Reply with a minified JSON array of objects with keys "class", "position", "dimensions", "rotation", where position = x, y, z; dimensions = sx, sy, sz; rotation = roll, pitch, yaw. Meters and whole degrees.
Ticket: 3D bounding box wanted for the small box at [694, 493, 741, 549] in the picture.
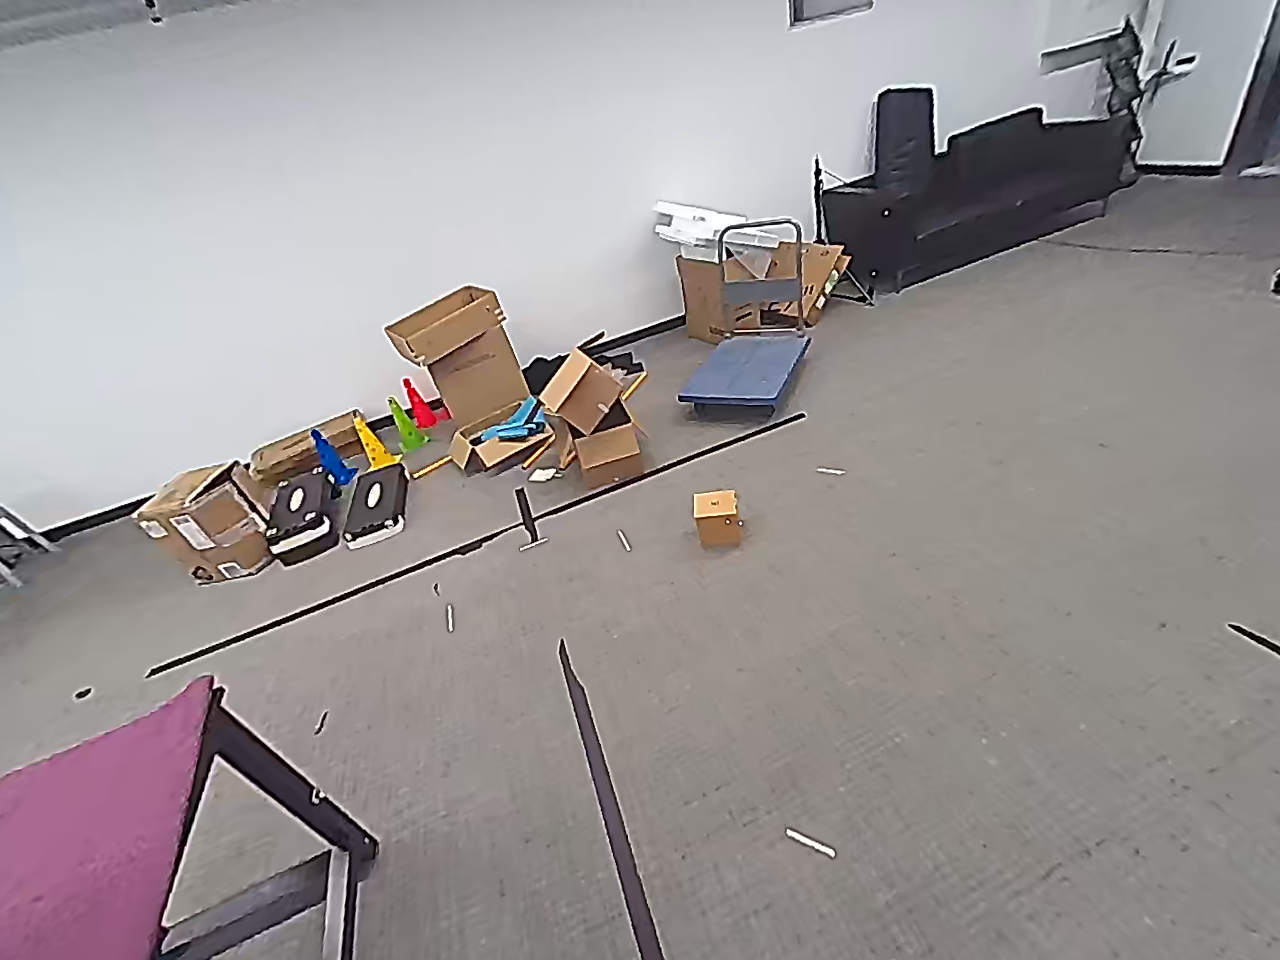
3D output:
[{"class":"small box","position":[0.329,0.179,2.292],"dimensions":[0.179,0.176,0.168],"rotation":[-7,34,11]}]
